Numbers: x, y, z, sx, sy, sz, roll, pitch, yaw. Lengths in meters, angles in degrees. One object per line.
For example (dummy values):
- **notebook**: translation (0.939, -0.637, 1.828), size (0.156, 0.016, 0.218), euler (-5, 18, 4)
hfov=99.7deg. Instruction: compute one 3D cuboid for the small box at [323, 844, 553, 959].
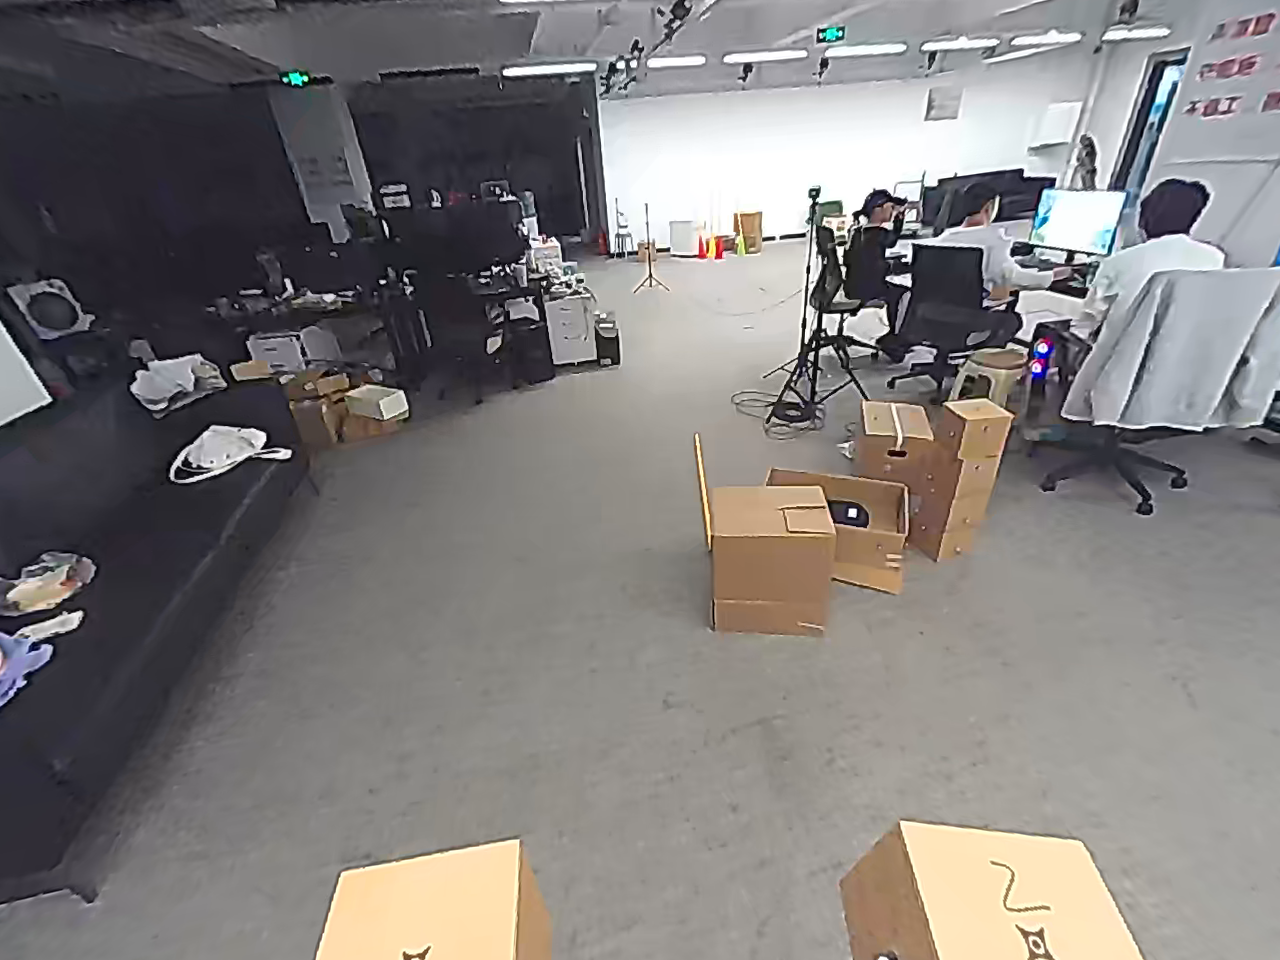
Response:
- **small box**: translation (-0.170, 0.460, 0.469), size (0.168, 0.176, 0.179), euler (-7, 32, -4)
